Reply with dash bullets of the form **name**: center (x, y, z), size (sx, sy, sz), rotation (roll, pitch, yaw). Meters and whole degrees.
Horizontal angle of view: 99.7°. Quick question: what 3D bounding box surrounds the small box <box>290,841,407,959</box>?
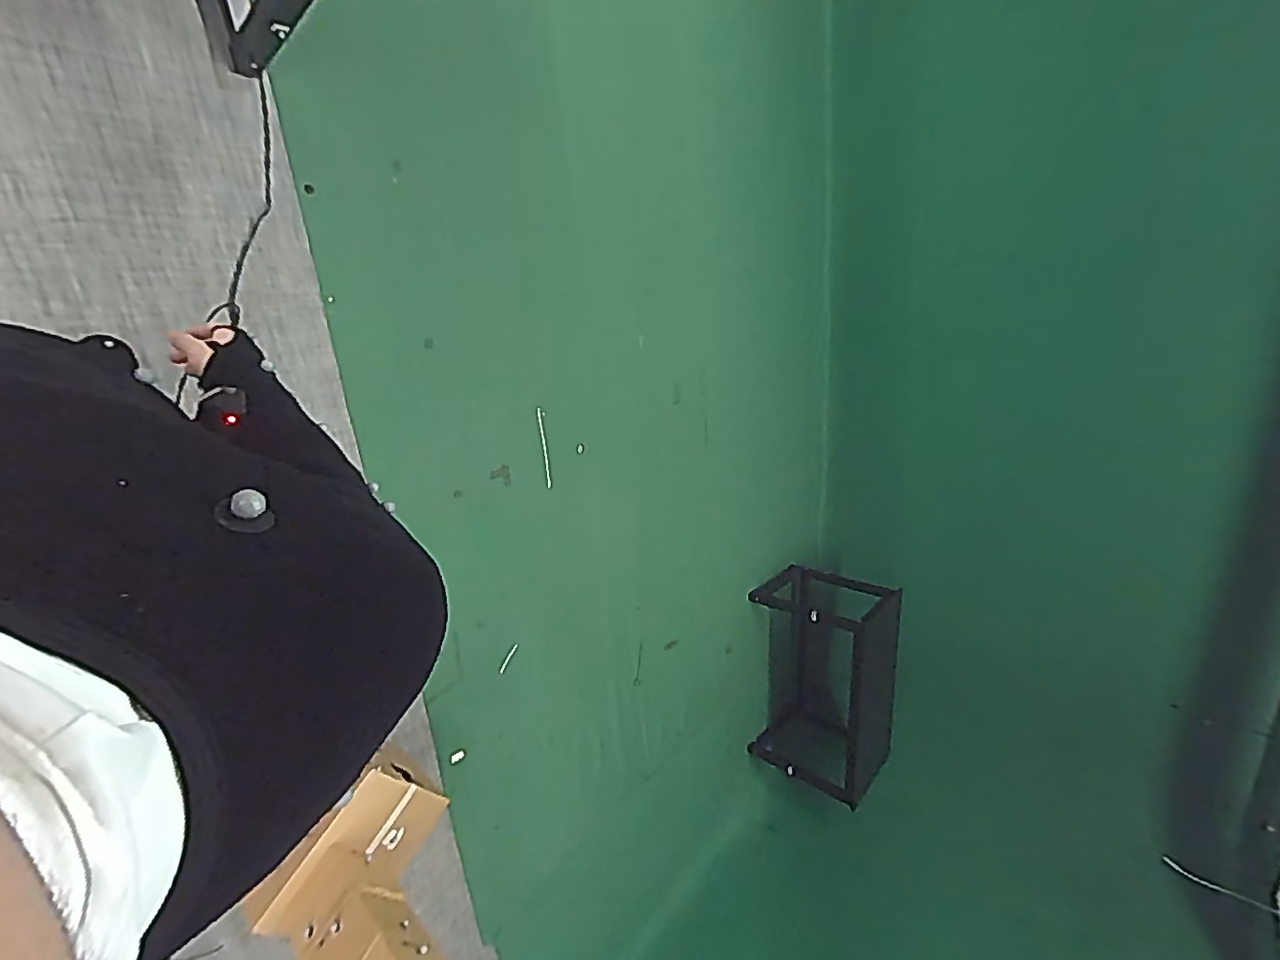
- **small box**: center (-0.722, 1.039, 1.331), size (0.179, 0.176, 0.168), rotation (-57, 133, -24)

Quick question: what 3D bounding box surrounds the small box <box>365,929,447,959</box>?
- **small box**: center (-0.491, 1.076, 1.103), size (0.179, 0.176, 0.168), rotation (-58, 134, -25)

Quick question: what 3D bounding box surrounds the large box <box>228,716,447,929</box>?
- **large box**: center (-0.852, 0.971, 1.543), size (0.408, 0.320, 0.320), rotation (-57, 135, -25)

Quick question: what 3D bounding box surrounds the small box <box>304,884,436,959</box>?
- **small box**: center (-0.607, 1.056, 1.217), size (0.168, 0.176, 0.179), rotation (-56, 132, -26)
